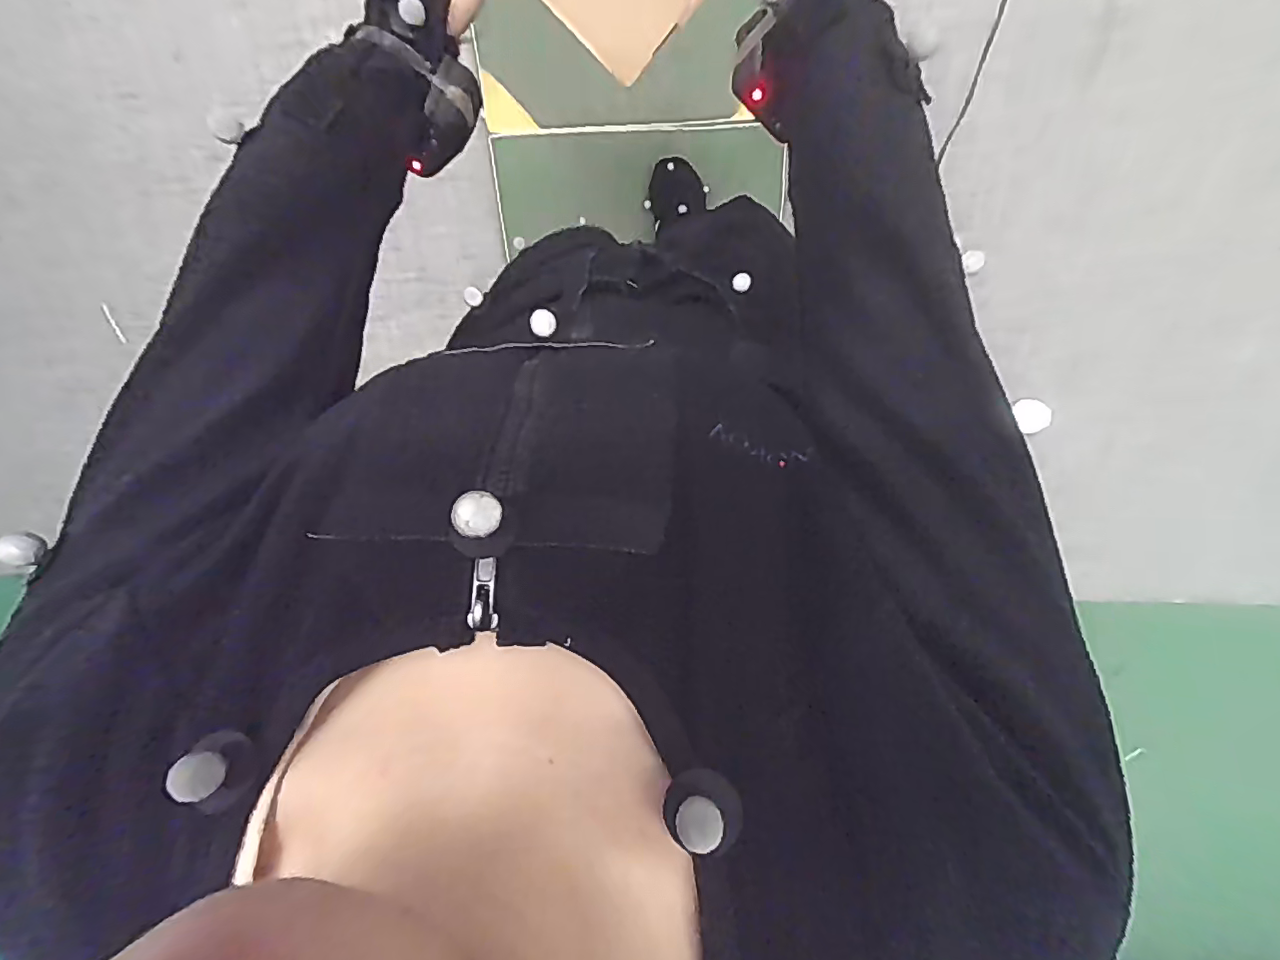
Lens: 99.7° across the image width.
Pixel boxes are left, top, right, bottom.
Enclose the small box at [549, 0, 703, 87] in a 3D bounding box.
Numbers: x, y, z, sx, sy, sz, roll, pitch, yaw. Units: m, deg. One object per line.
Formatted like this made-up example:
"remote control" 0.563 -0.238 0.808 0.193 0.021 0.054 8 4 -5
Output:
"small box" -0.015 -0.467 0.416 0.179 0.176 0.168 30 133 -32
